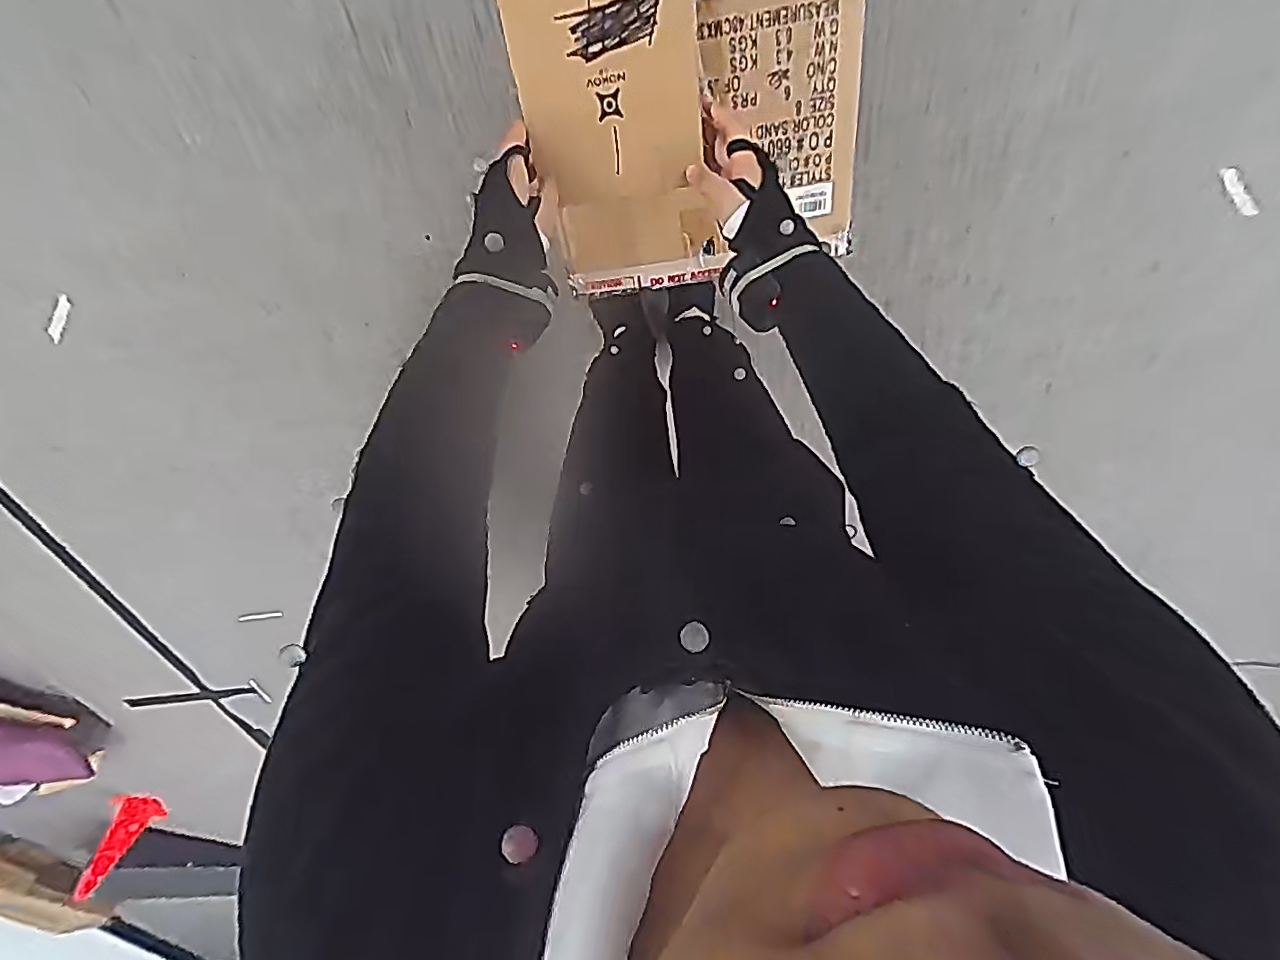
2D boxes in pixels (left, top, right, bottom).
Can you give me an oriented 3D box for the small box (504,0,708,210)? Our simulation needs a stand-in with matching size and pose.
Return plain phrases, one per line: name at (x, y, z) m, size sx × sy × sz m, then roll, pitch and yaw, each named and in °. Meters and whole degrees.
small box at (-0.026, -0.401, 0.557) m, size 0.168 × 0.176 × 0.179 m, roll -7°, pitch 128°, yaw 5°
